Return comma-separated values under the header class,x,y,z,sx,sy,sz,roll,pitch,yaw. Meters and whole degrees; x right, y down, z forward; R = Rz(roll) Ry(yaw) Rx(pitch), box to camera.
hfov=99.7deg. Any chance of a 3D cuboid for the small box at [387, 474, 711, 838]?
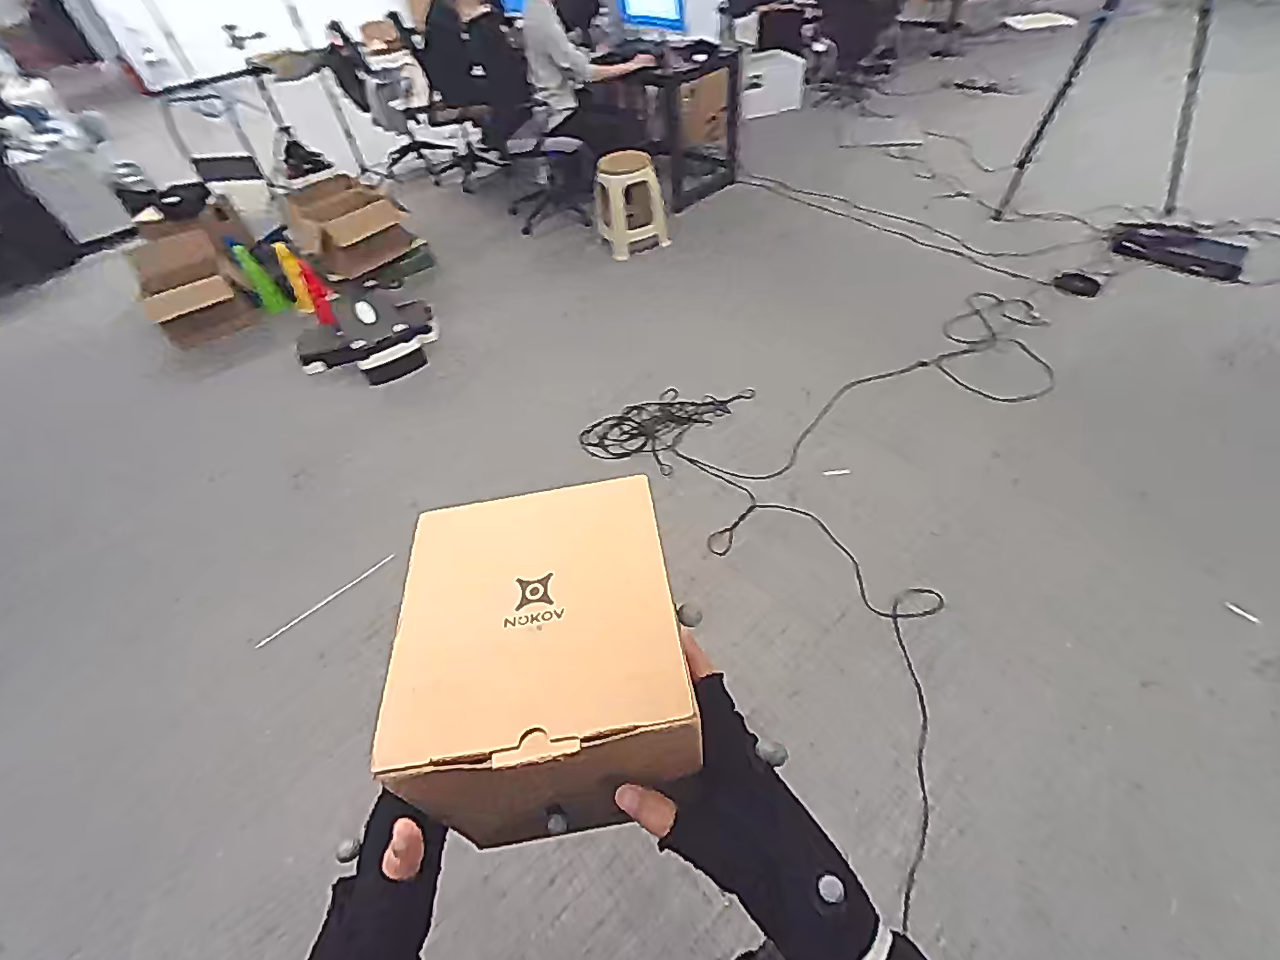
class,x,y,z,sx,sy,sz,roll,pitch,yaw
small box,-0.049,0.124,0.384,0.168,0.176,0.179,-10,46,-1
